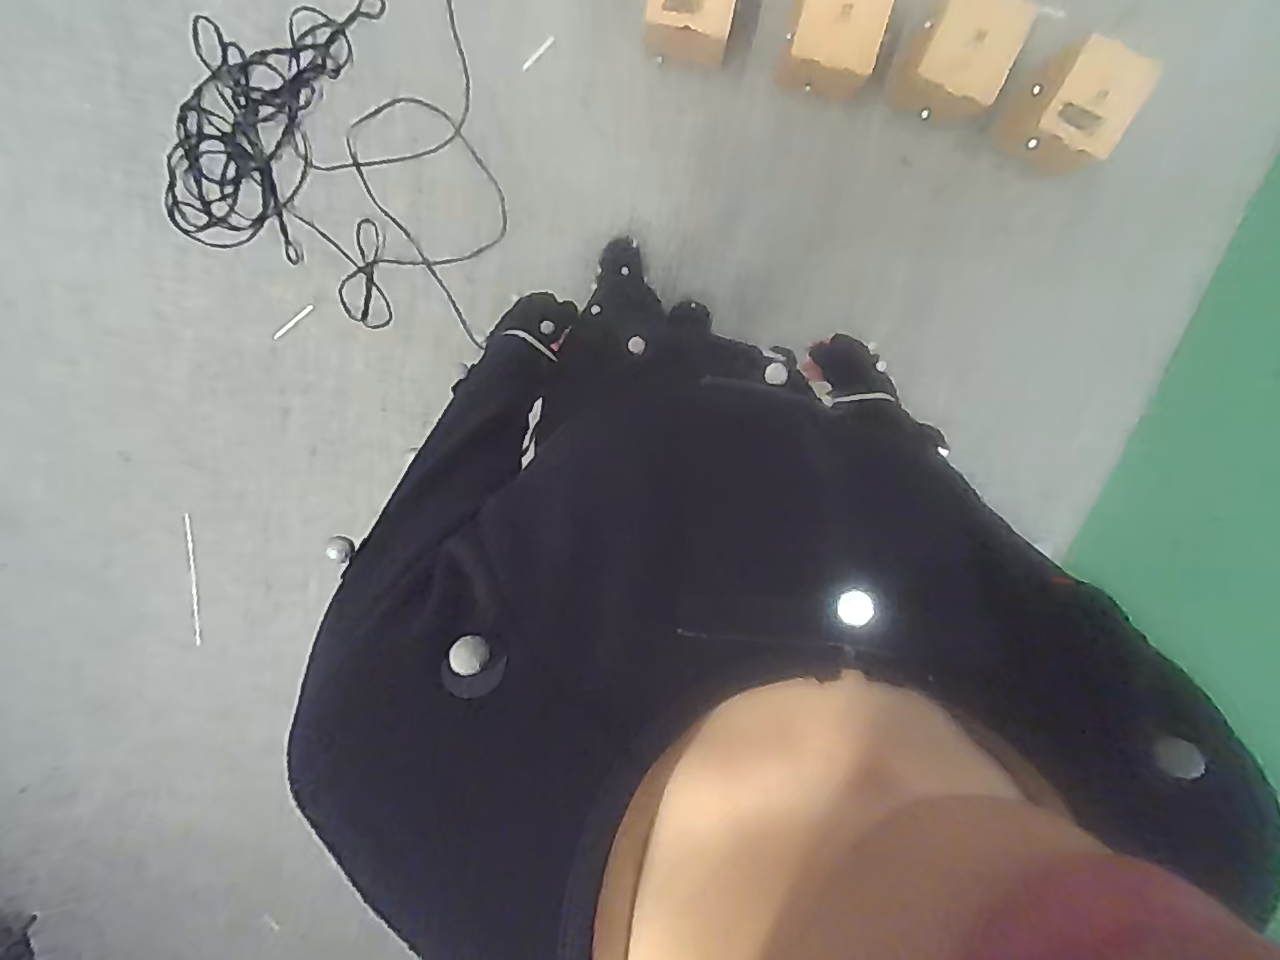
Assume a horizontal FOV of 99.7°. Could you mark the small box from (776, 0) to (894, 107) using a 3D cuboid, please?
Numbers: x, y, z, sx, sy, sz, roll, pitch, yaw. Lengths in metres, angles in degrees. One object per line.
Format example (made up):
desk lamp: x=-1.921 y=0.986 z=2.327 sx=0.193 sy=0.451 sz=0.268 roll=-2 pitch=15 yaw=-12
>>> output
small box: x=0.392 y=-0.906 z=1.105 sx=0.168 sy=0.176 sz=0.179 roll=13 pitch=109 yaw=-2

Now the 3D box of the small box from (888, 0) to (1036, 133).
small box: x=0.644 y=-0.856 z=1.110 sx=0.168 sy=0.176 sz=0.179 roll=21 pitch=108 yaw=-4

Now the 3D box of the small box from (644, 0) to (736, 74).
small box: x=0.108 y=-0.966 z=1.094 sx=0.168 sy=0.176 sz=0.179 roll=12 pitch=107 yaw=-2
